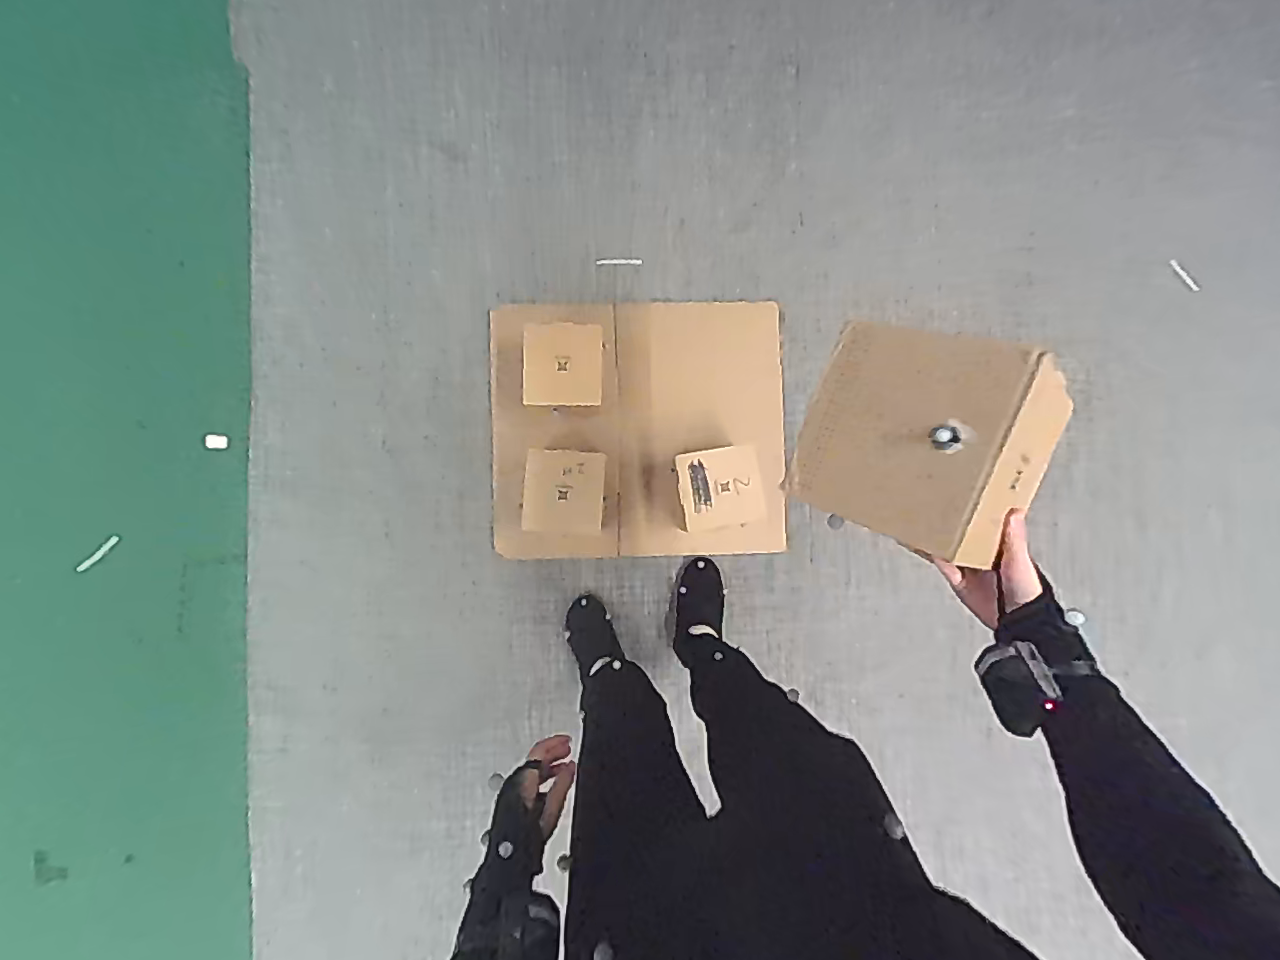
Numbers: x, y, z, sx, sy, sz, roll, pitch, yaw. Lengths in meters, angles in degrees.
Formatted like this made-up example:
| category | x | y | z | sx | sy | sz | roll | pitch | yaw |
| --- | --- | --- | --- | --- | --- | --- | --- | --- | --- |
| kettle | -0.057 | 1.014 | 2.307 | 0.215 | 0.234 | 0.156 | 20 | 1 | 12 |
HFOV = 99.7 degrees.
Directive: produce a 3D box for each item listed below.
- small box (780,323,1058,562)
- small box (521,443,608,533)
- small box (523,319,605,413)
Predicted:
| category | x | y | z | sx | sy | sz | roll | pitch | yaw |
| --- | --- | --- | --- | --- | --- | --- | --- | --- | --- |
| small box | 0.263 | -0.038 | 0.524 | 0.168 | 0.176 | 0.179 | 14 | 98 | -44 |
| small box | -0.161 | 0.019 | 1.197 | 0.168 | 0.176 | 0.179 | 5 | 88 | -3 |
| small box | -0.163 | -0.246 | 1.206 | 0.168 | 0.176 | 0.179 | 0 | 88 | -2 |
